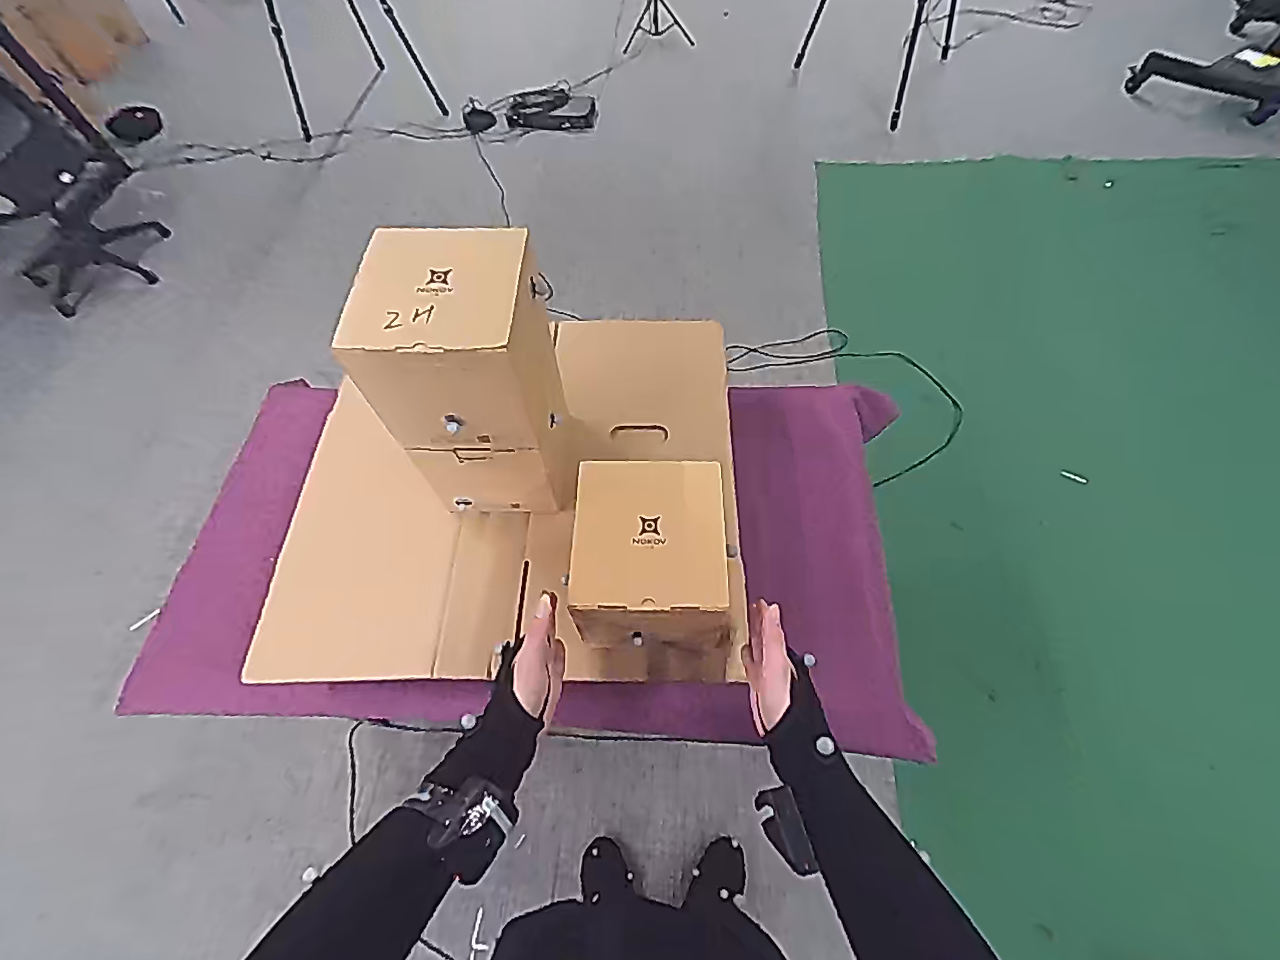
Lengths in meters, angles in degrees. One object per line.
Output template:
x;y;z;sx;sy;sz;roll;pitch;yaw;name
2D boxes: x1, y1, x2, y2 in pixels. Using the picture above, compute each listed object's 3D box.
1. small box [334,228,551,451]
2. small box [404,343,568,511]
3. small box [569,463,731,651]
-0.197;-0.152;0.601;0.168;0.176;0.179;0;61;1;small box
-0.195;-0.067;0.742;0.168;0.176;0.179;1;60;1;small box
0.012;0.096;0.648;0.168;0.176;0.179;0;61;2;small box
